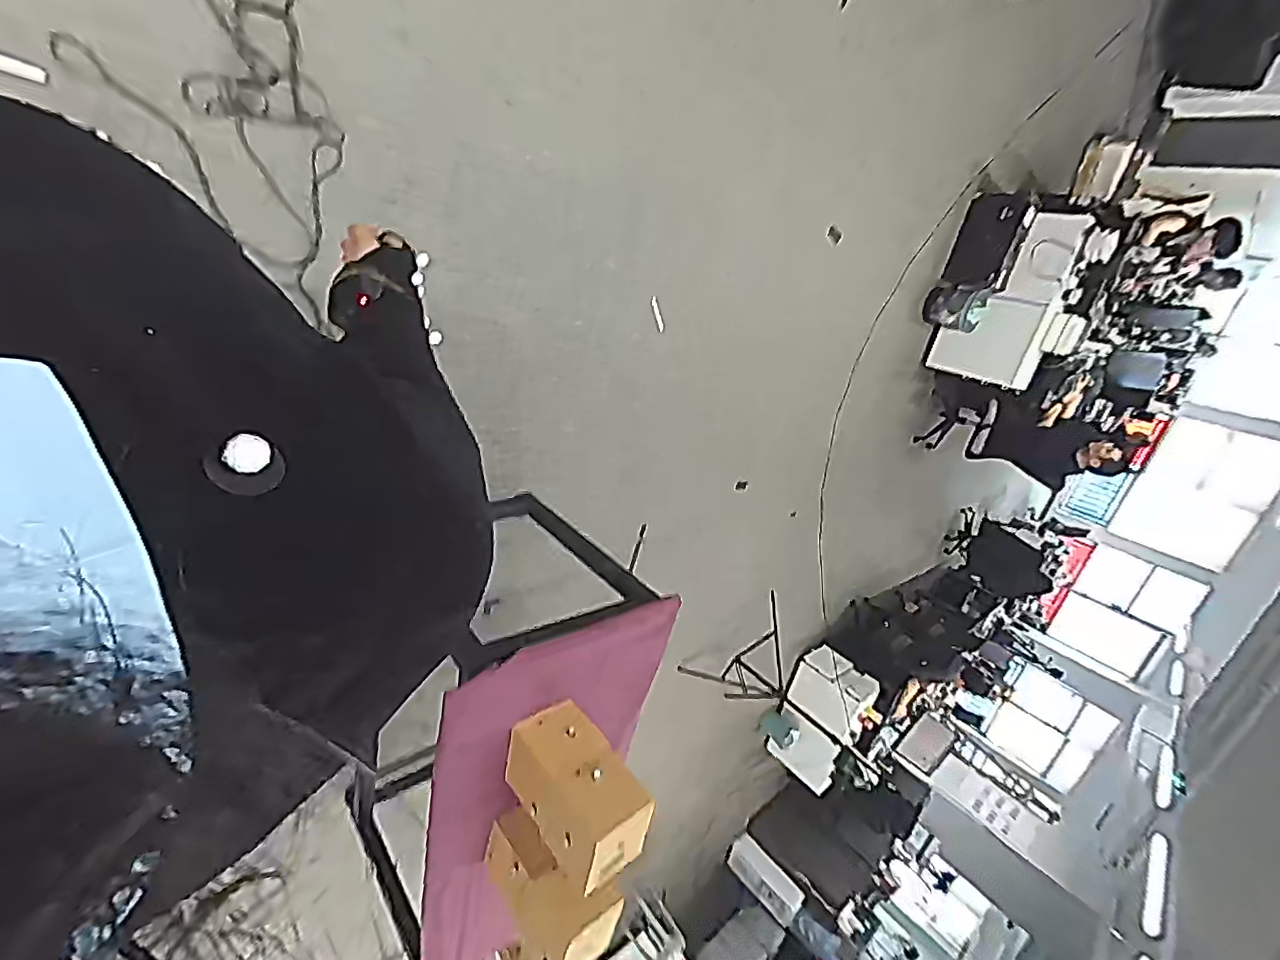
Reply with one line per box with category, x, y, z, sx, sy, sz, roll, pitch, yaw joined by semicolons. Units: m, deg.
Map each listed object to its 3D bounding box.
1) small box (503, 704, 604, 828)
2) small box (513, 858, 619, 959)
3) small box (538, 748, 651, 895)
small box;-0.211;0.667;1.290;0.168;0.176;0.179;-9;121;-43
small box;-0.180;1.026;1.284;0.168;0.176;0.179;-3;115;-46
small box;-0.106;0.735;1.184;0.168;0.176;0.179;-10;120;-43
